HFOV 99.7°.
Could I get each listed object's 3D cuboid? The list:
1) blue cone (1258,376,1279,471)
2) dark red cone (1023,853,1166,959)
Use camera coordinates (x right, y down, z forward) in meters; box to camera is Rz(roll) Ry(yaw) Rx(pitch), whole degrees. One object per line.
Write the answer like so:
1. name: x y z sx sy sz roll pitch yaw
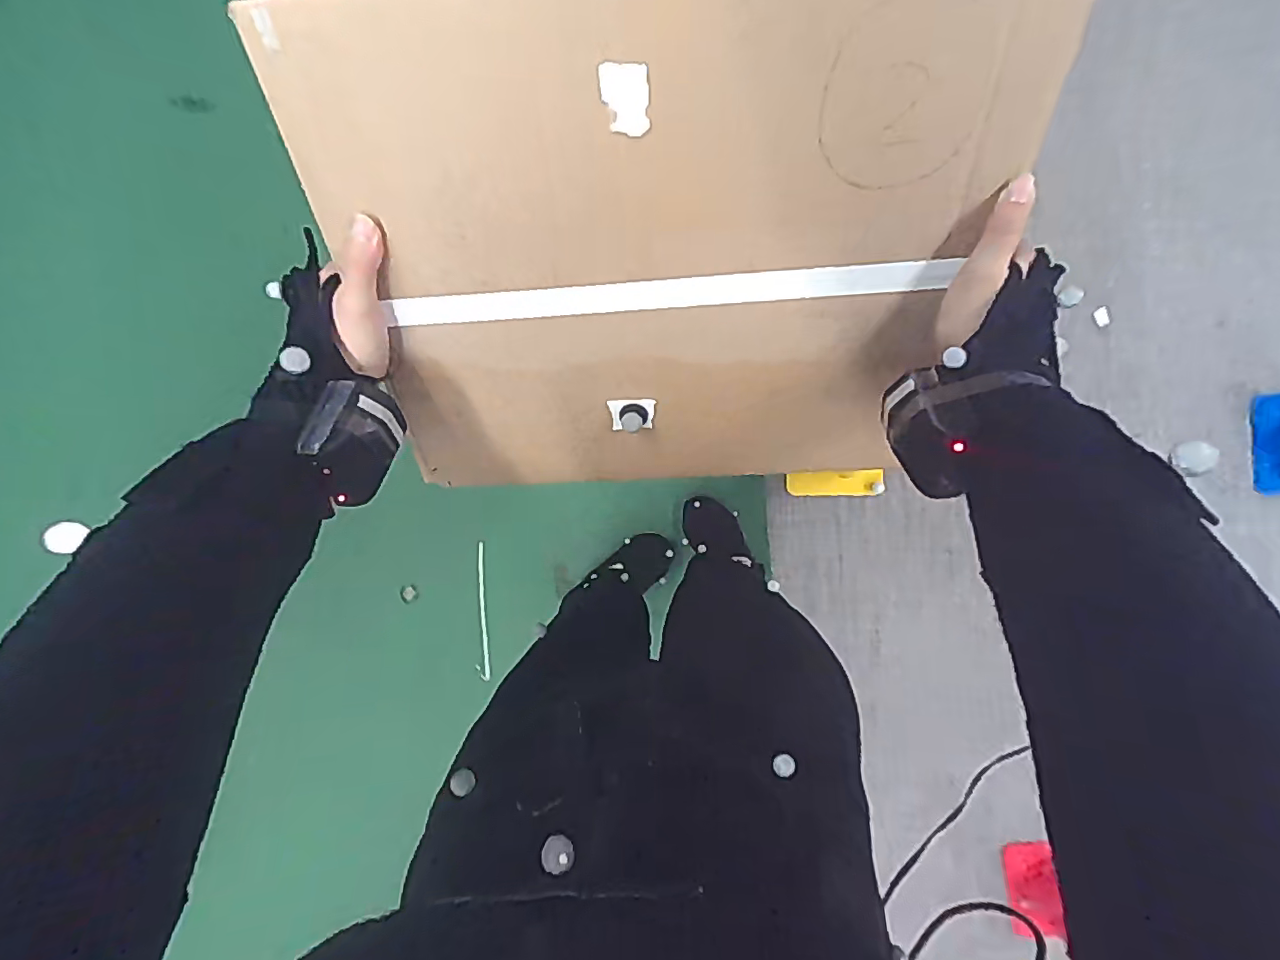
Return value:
1. blue cone: 1.280 -0.110 0.874 0.193 0.380 0.192 -3 90 6
2. dark red cone: 0.844 0.833 0.897 0.201 0.394 0.202 -11 90 9
